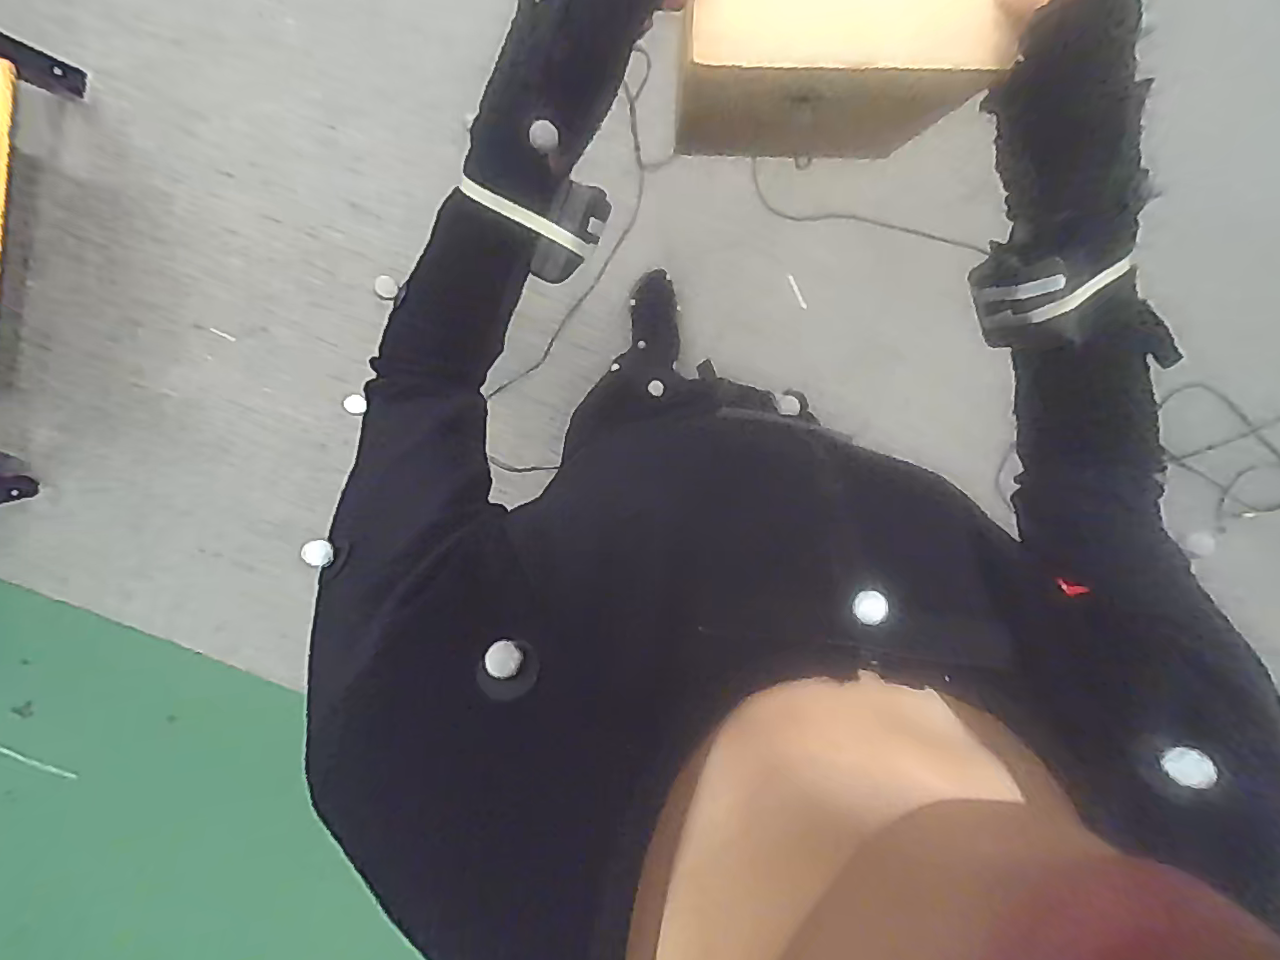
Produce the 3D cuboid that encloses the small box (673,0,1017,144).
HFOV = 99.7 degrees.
[{"bbox_3d":[0.112,-0.330,0.342,0.179,0.176,0.168,1,107,0],"label":"small box"}]
